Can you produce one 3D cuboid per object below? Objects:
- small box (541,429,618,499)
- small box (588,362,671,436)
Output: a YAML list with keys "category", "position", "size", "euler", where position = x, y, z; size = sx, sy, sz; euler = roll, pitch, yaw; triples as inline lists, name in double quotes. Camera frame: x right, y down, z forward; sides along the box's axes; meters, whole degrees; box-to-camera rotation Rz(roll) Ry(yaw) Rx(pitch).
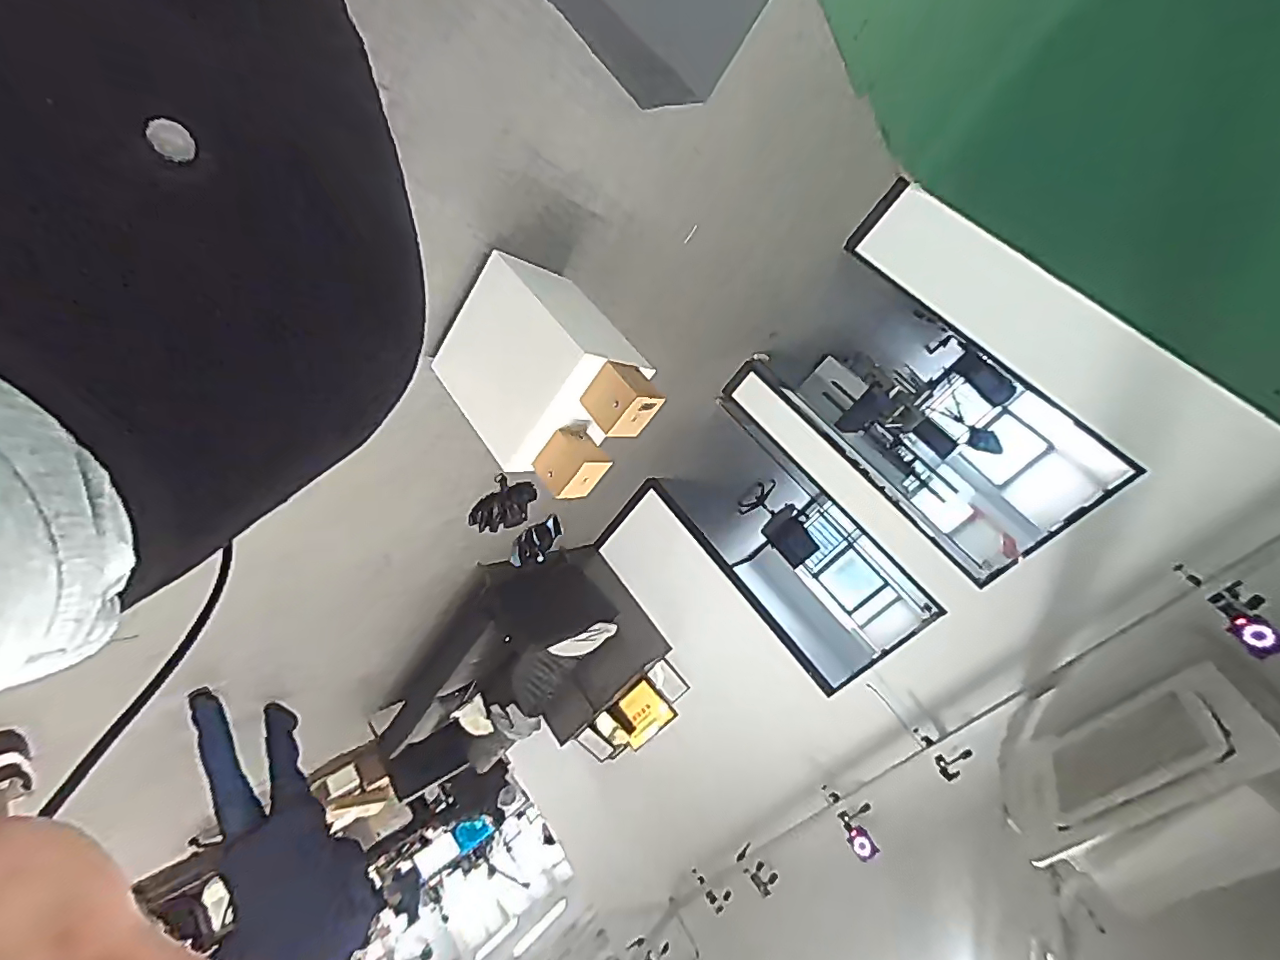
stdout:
- category: "small box"
  position: [-0.218, -0.057, 1.885]
  size: [0.179, 0.176, 0.168]
  euler: [-52, 157, 24]
- category: "small box"
  position: [-0.039, -0.262, 1.762]
  size: [0.179, 0.176, 0.168]
  euler: [-49, 157, 28]
